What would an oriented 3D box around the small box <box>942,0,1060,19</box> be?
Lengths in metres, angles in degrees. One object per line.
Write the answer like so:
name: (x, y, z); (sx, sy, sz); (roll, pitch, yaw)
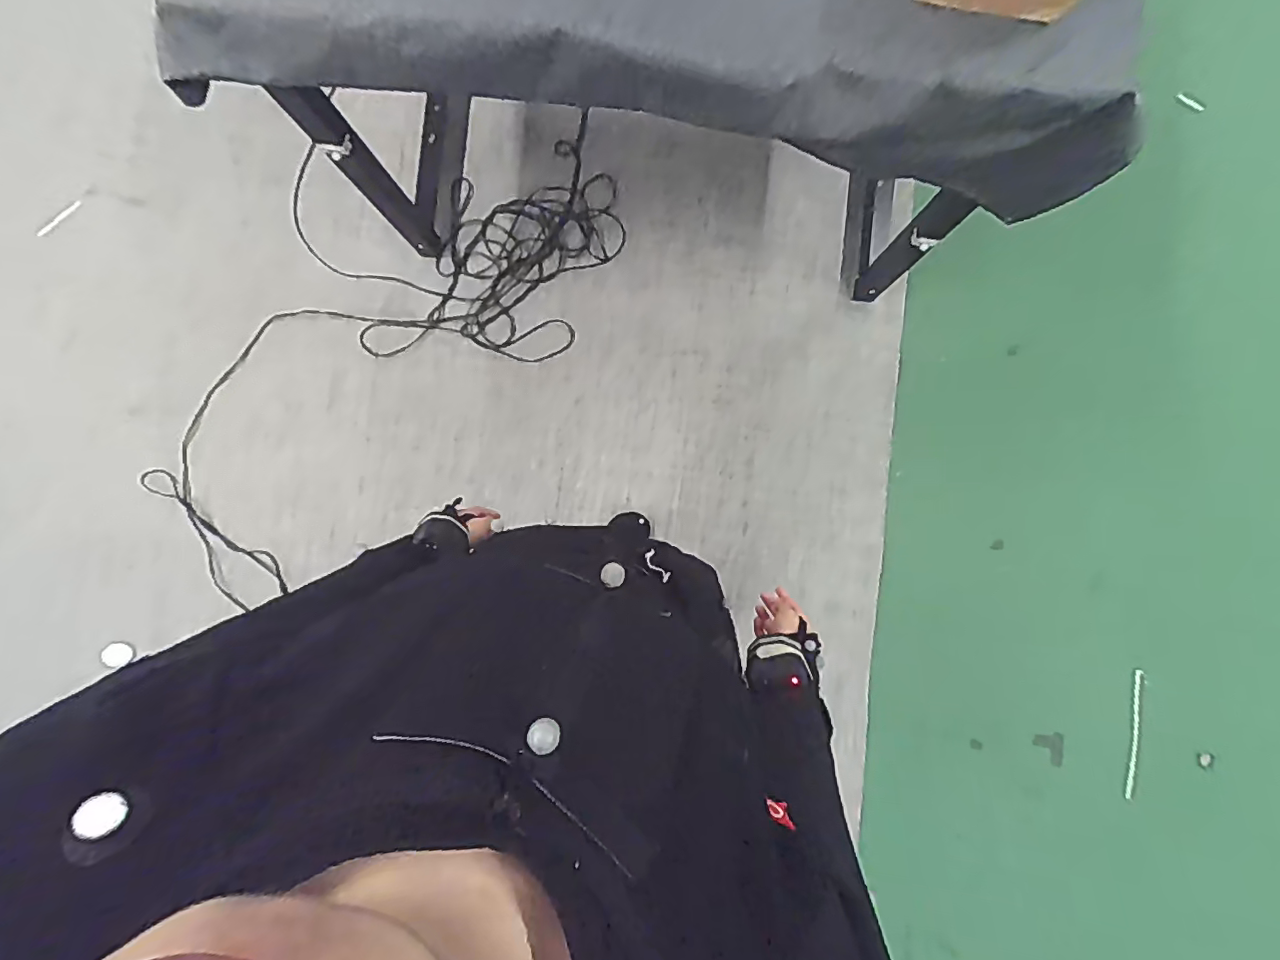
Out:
small box: (0.431, -0.653, 0.582); (0.179, 0.176, 0.168); (11, 89, 1)
